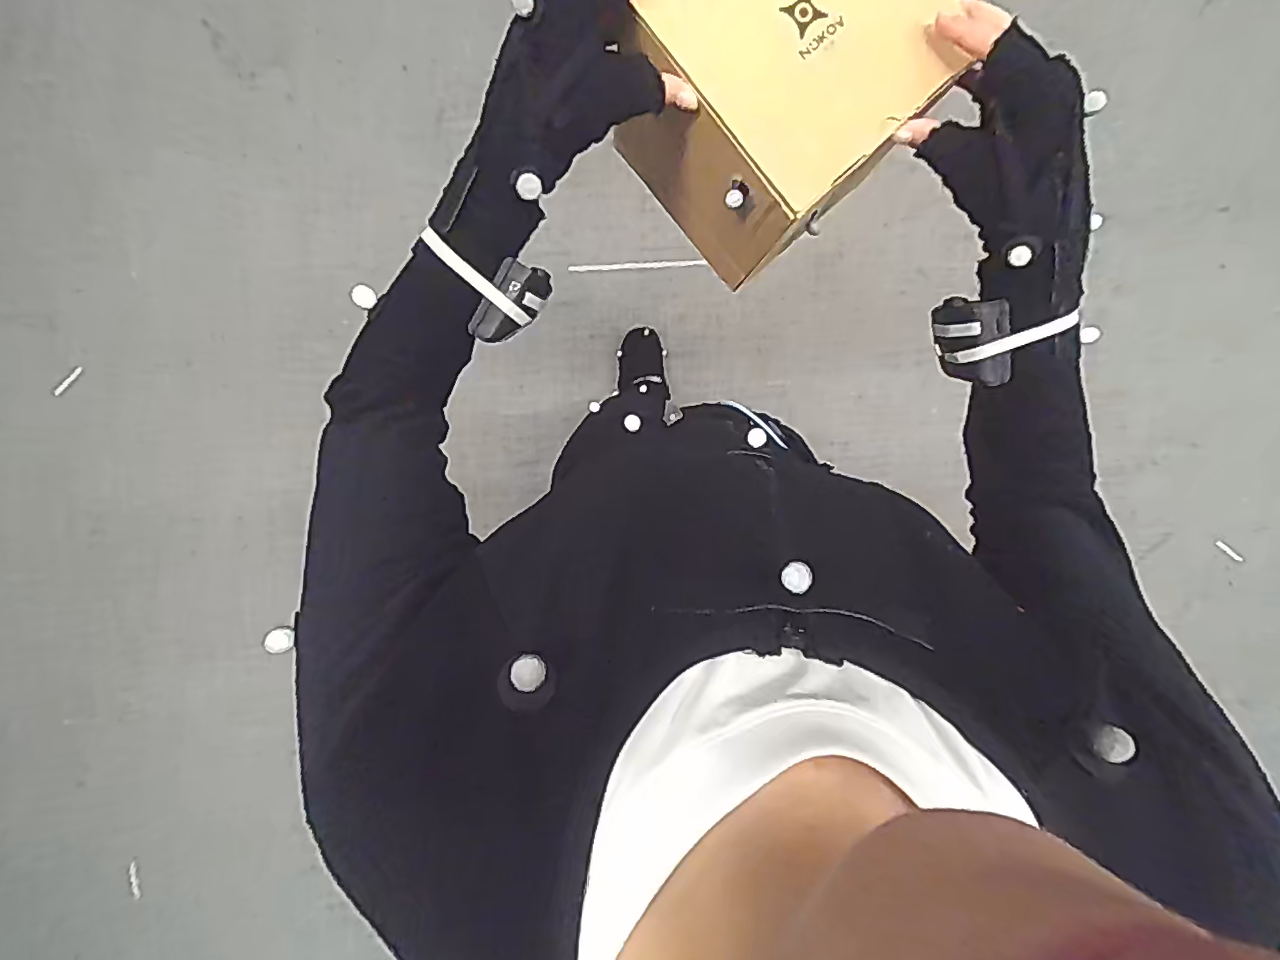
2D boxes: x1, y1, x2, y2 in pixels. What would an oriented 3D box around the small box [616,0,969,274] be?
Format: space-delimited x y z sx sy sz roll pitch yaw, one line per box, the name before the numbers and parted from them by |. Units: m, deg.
small box | 0.094 -0.297 0.423 0.168 0.176 0.179 -41 96 -1
